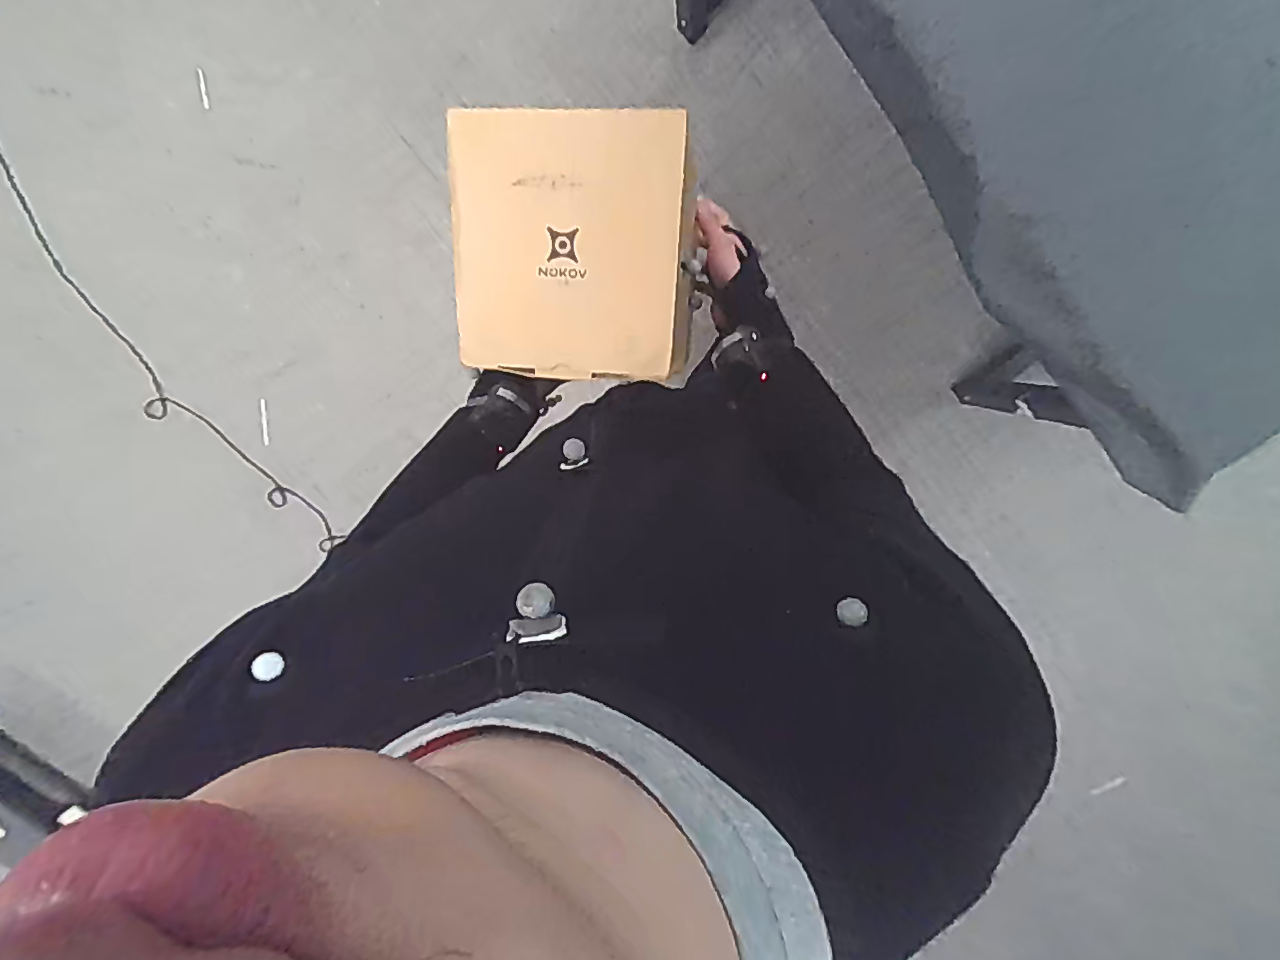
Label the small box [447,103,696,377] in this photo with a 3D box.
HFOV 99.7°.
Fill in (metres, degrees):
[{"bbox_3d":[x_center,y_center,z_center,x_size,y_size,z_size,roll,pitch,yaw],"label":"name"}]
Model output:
[{"bbox_3d":[-0.041,-0.189,0.455,0.168,0.176,0.179,4,108,6],"label":"small box"}]
